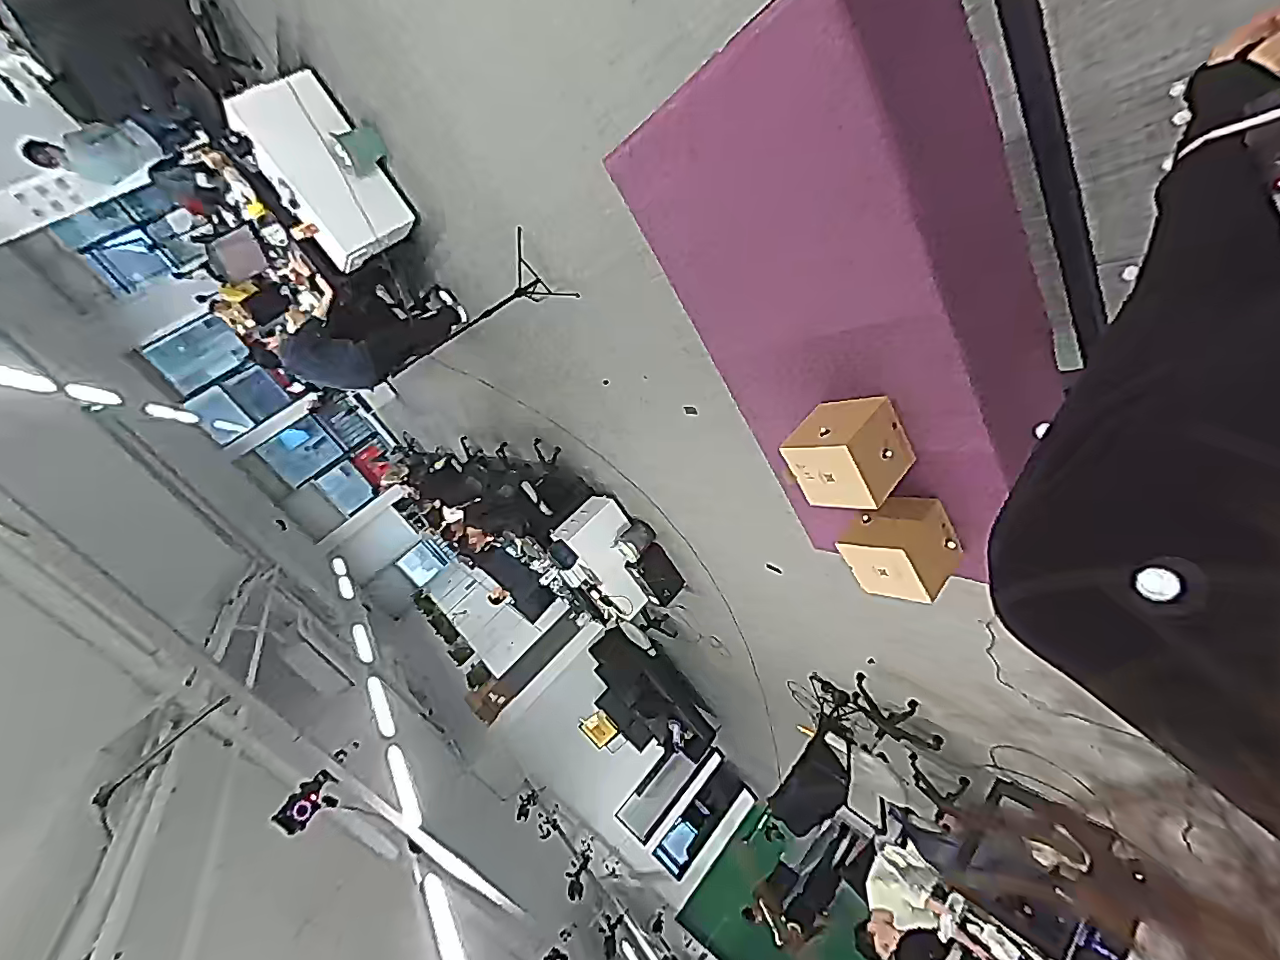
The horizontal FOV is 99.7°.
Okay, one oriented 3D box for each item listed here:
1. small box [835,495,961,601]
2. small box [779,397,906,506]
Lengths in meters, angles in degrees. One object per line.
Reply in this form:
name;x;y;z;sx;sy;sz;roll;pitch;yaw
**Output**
small box;0.594;0.148;1.245;0.168;0.176;0.179;54;156;-19
small box;0.441;-0.063;1.160;0.168;0.176;0.179;56;156;-21
